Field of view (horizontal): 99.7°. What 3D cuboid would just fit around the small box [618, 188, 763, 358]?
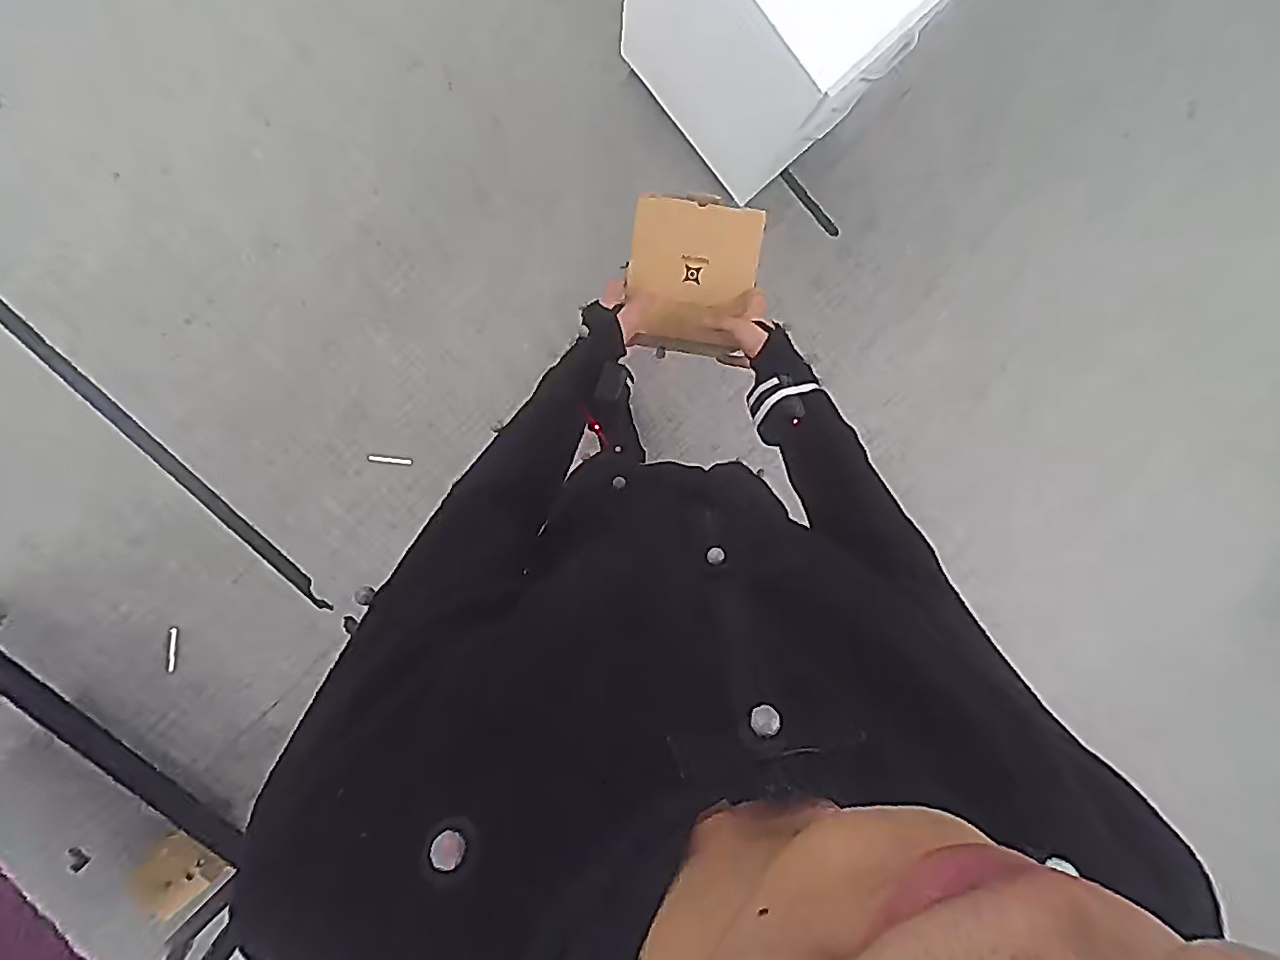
[{"bbox_3d":[0.060,-0.279,0.767,0.168,0.176,0.179,8,98,-4],"label":"small box"}]
